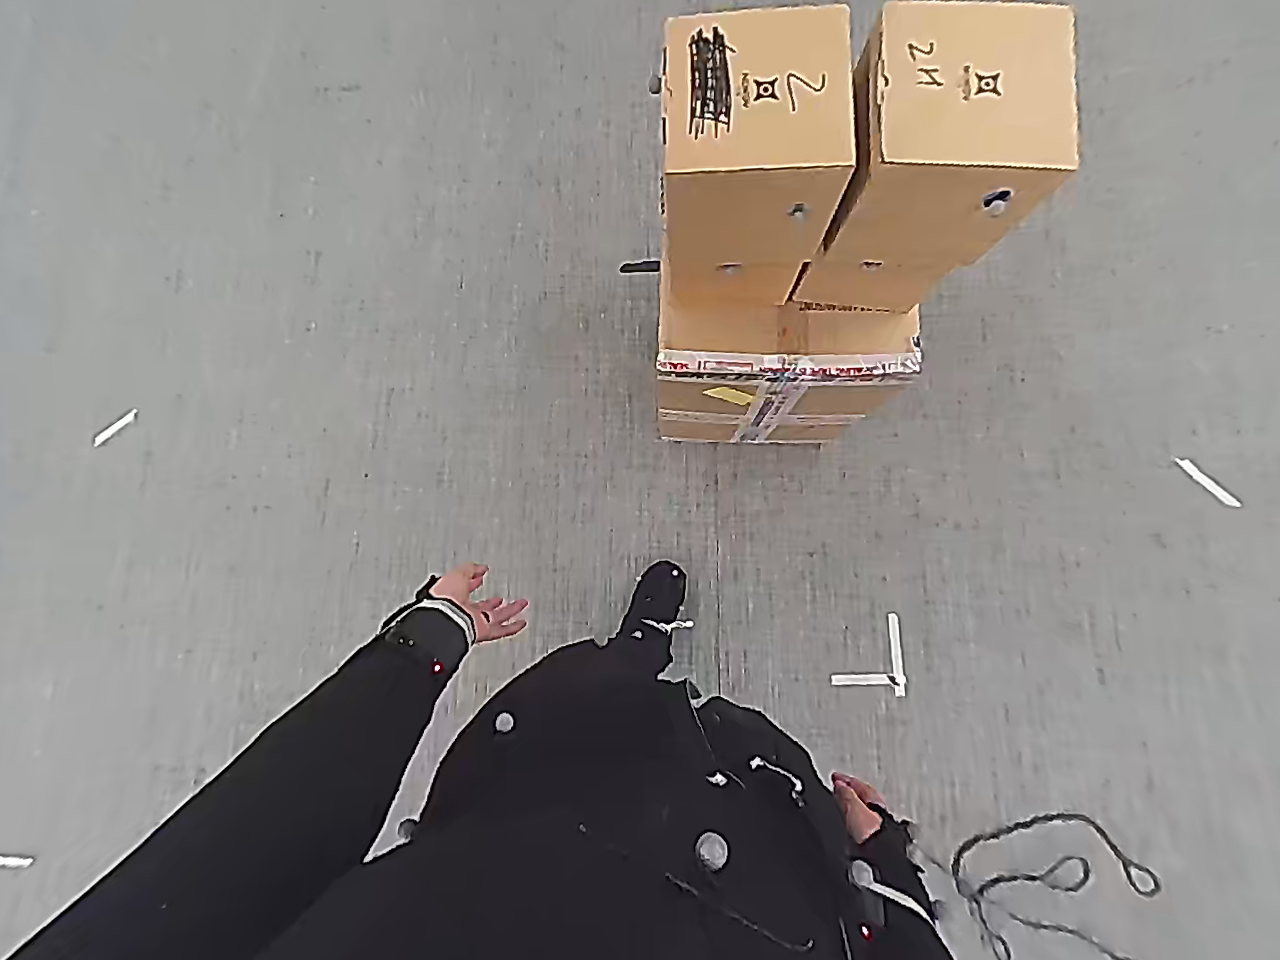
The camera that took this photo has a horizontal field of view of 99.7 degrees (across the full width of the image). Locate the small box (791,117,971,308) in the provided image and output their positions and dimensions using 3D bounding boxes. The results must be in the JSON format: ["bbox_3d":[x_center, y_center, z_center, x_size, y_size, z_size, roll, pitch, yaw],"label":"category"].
[{"bbox_3d":[0.313,-0.350,0.734,0.179,0.176,0.168,6,83,2],"label":"small box"}]
